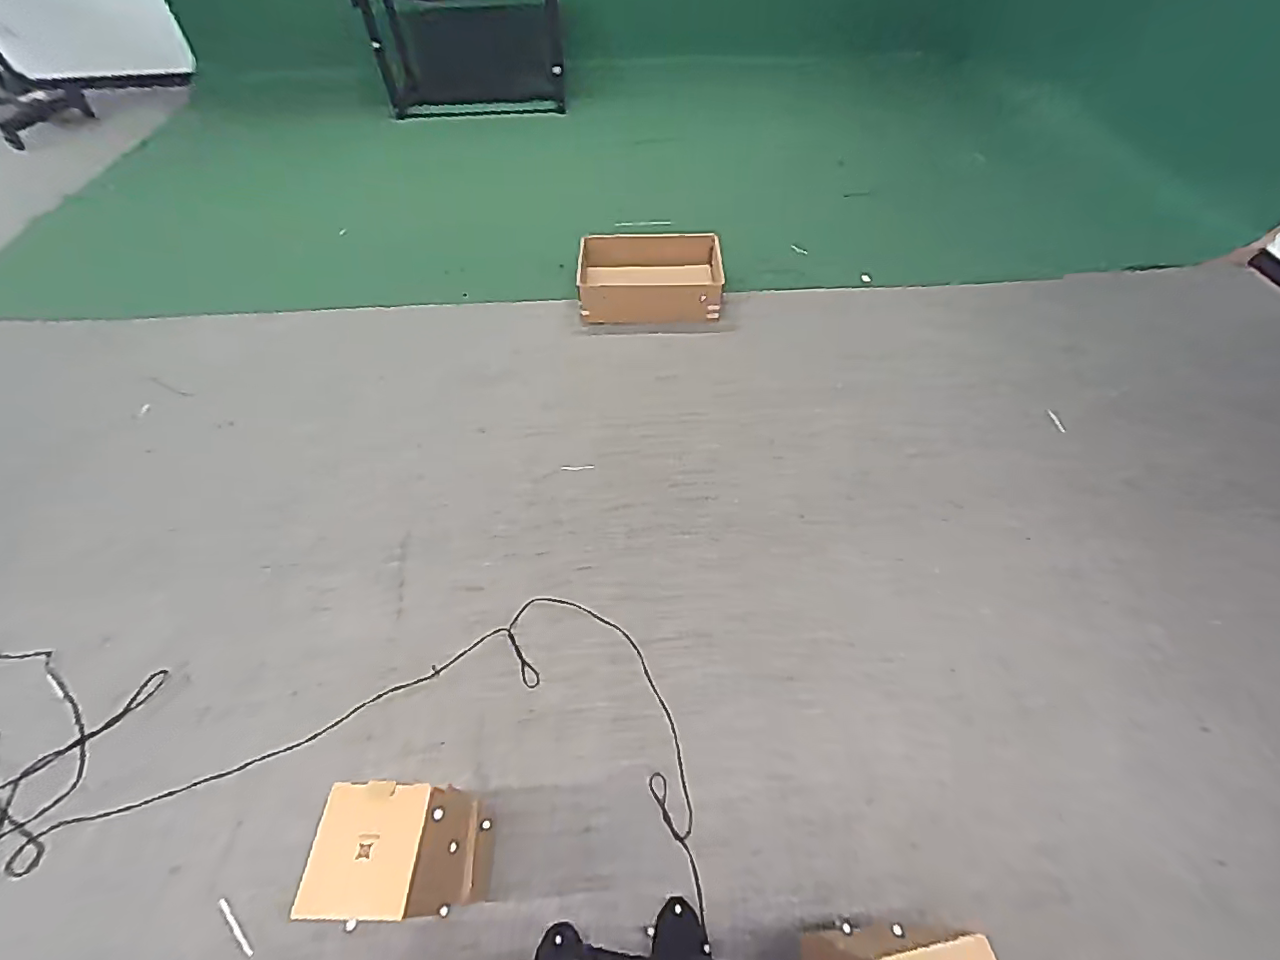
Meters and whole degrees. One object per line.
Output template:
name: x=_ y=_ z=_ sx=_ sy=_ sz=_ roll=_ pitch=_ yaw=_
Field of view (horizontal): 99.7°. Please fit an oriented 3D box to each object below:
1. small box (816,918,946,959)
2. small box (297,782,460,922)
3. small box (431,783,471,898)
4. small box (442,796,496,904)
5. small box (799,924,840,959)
small box: x=0.411 y=0.855 z=0.907 sx=0.179 sy=0.176 sz=0.168 roll=-6 pitch=55 yaw=-5
small box: x=-0.413 y=0.612 z=0.892 sx=0.168 sy=0.176 sz=0.179 roll=0 pitch=52 yaw=1
small box: x=-0.431 y=0.695 z=1.033 sx=0.168 sy=0.176 sz=0.179 roll=-3 pitch=52 yaw=-2
small box: x=-0.412 y=0.797 z=1.161 sx=0.168 sy=0.176 sz=0.179 roll=-5 pitch=53 yaw=-2
small box: x=0.414 y=0.960 z=1.031 sx=0.179 sy=0.176 sz=0.168 roll=-4 pitch=54 yaw=-2
